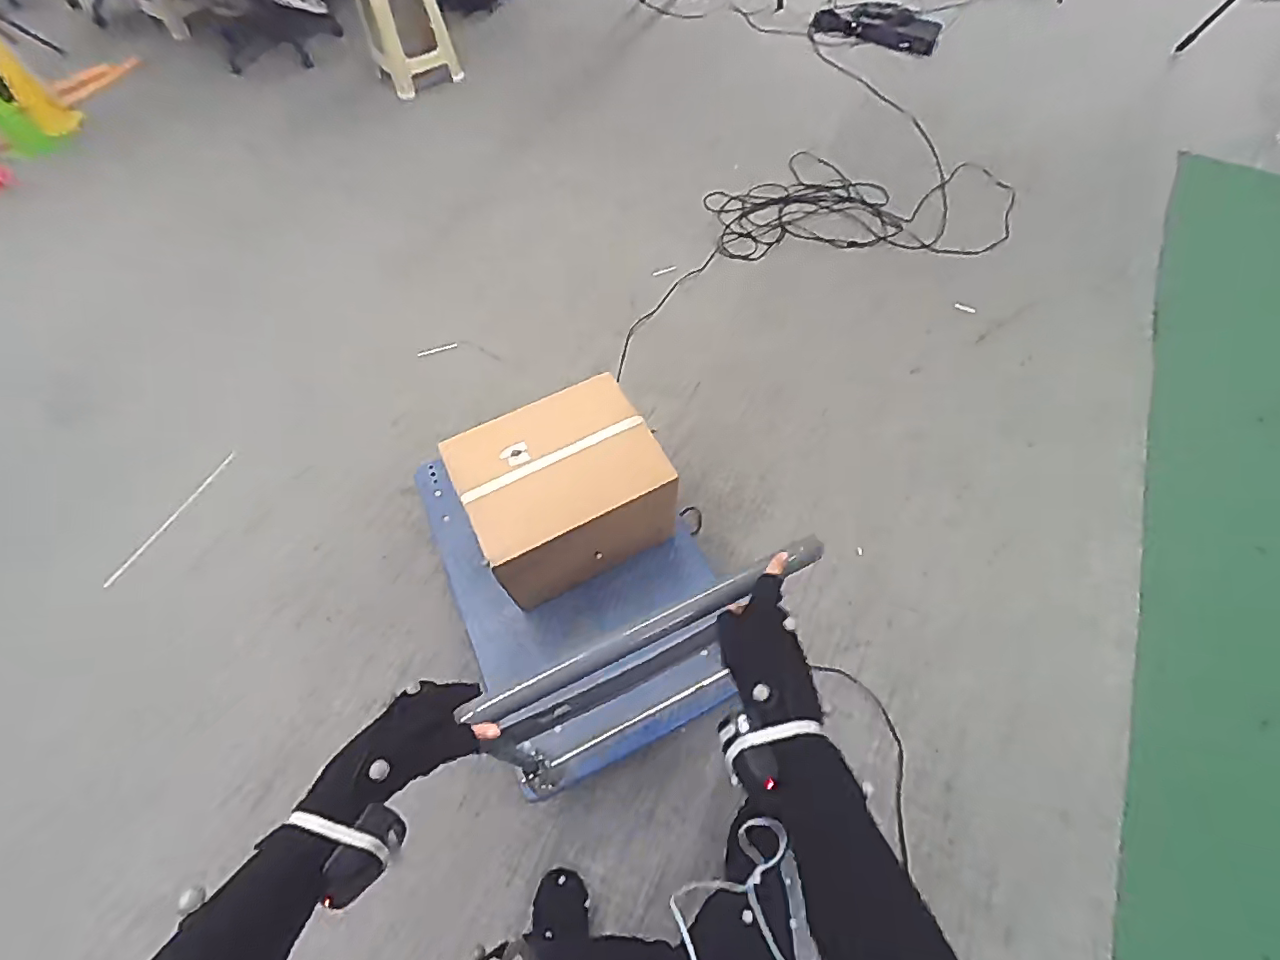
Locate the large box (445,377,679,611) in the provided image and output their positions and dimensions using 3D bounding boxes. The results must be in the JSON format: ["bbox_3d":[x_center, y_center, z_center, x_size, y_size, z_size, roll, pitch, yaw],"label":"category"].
[{"bbox_3d":[-0.160,0.040,1.239,0.408,0.320,0.320,-27,64,-12],"label":"large box"}]
